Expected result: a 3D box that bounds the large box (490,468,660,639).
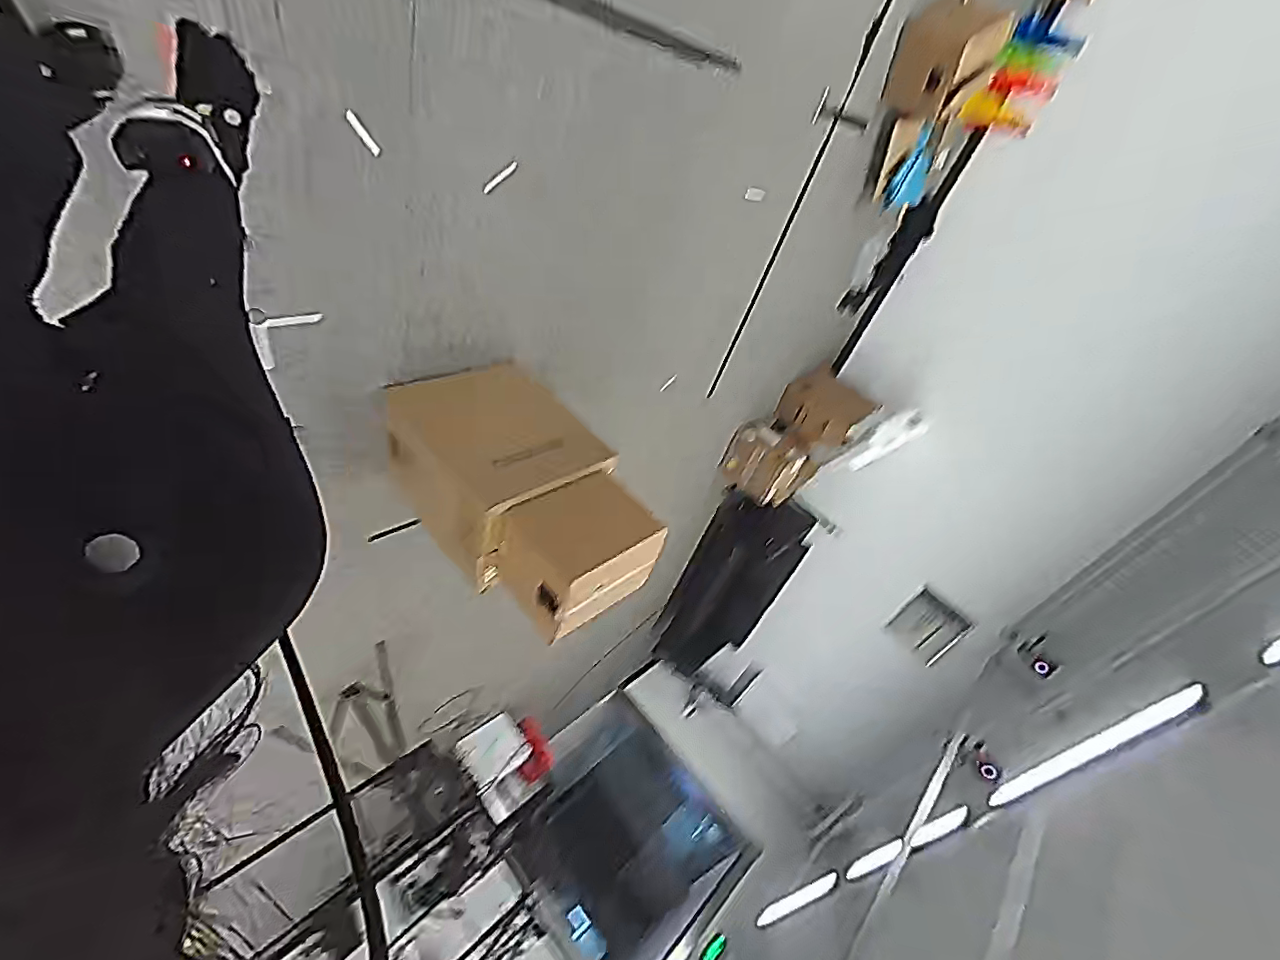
[{"bbox_3d":[-0.213,0.219,1.724,0.408,0.320,0.320,-25,147,-40],"label":"large box"}]
